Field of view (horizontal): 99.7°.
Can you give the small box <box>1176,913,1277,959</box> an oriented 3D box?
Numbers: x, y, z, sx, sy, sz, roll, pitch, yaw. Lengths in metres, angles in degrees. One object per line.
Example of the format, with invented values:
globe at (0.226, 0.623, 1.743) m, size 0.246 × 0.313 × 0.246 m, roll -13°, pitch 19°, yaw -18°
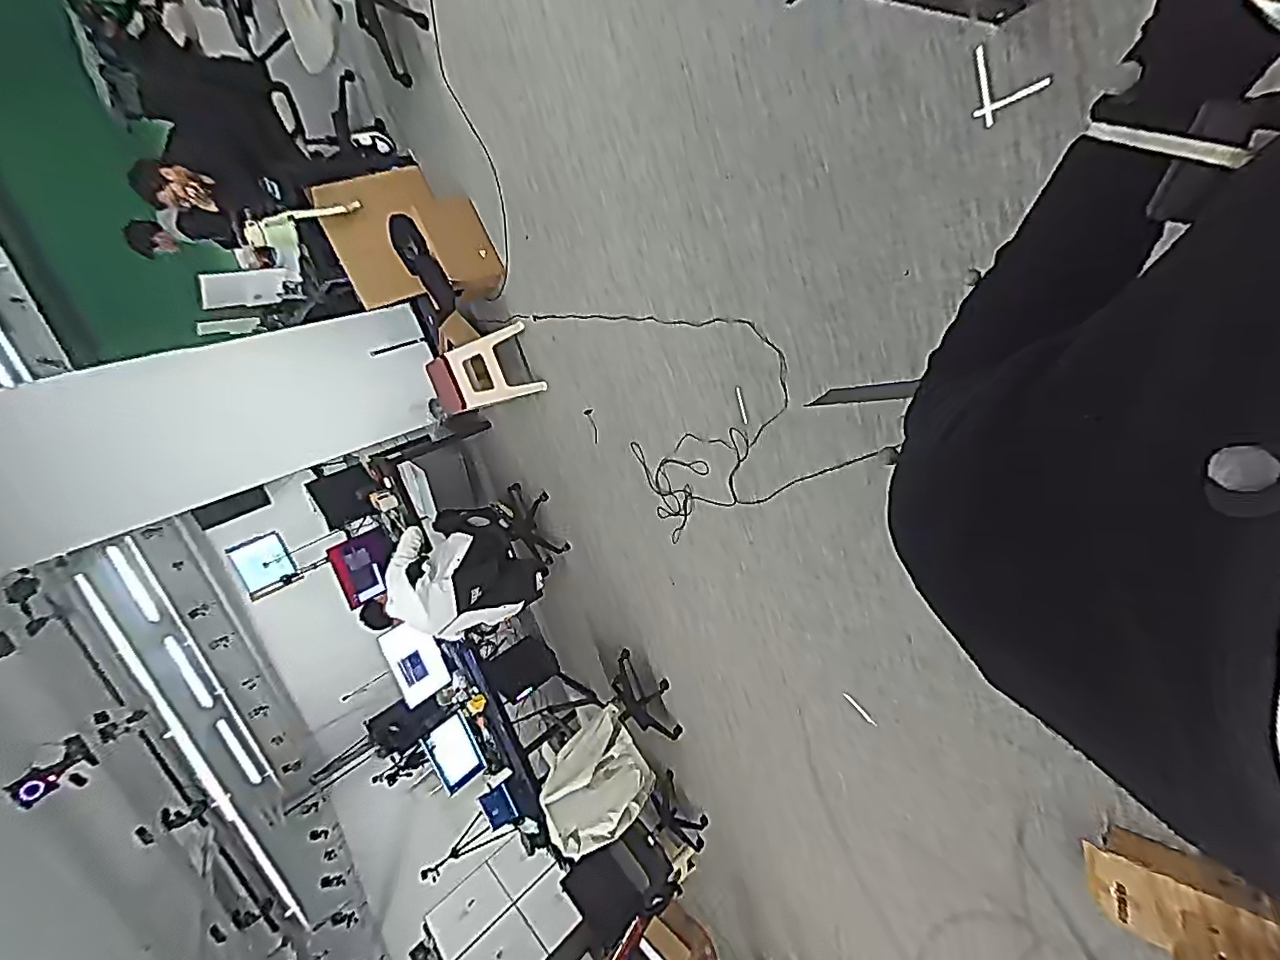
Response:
small box at (1.470, 1.253, 1.353) m, size 0.168 × 0.176 × 0.179 m, roll -1°, pitch 113°, yaw 53°
